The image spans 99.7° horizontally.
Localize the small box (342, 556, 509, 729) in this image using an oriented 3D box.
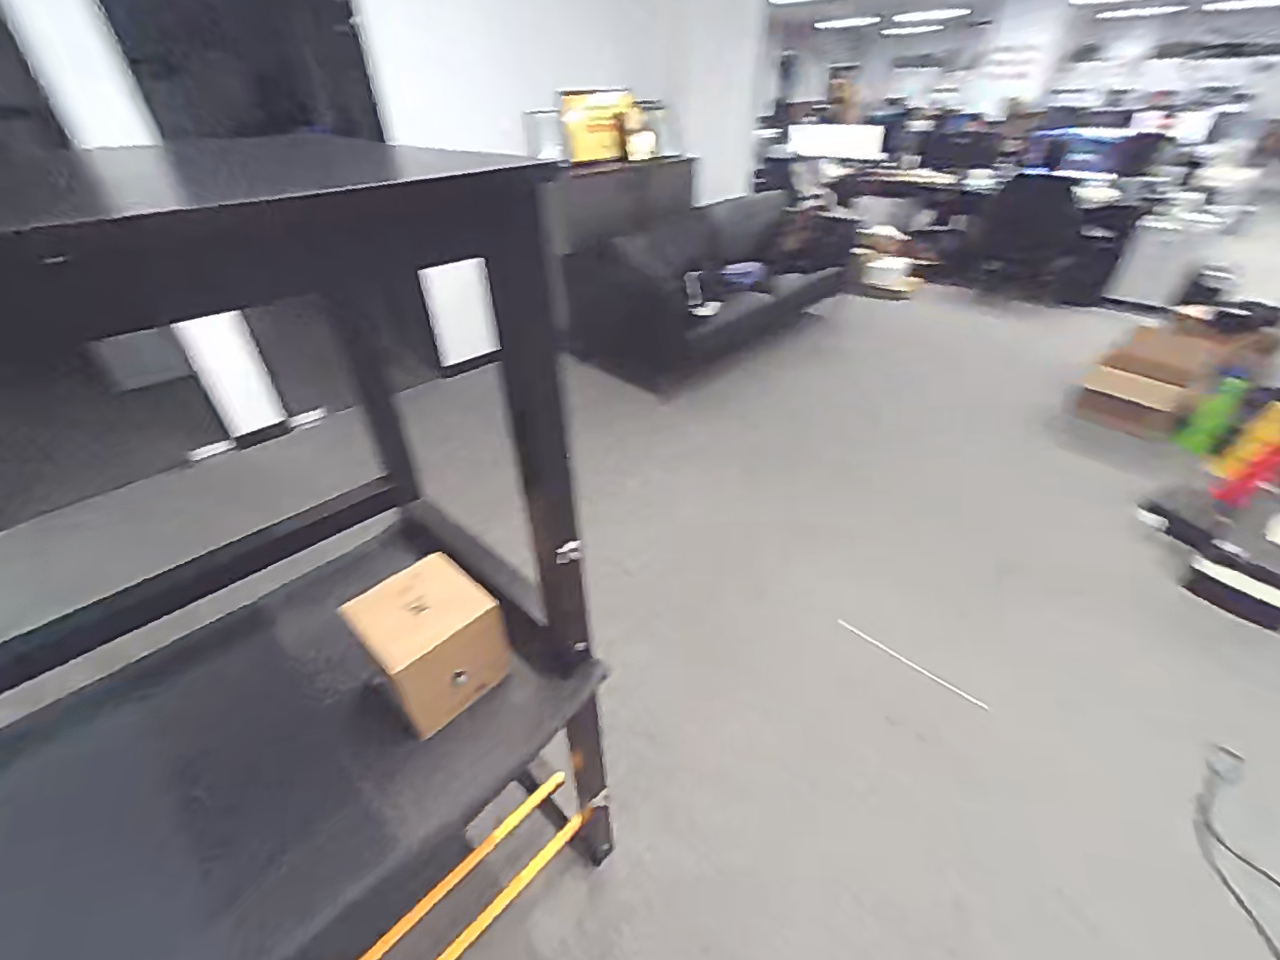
[{"bbox_3d":[-0.330,0.260,0.859,0.179,0.176,0.168,26,44,34],"label":"small box"}]
